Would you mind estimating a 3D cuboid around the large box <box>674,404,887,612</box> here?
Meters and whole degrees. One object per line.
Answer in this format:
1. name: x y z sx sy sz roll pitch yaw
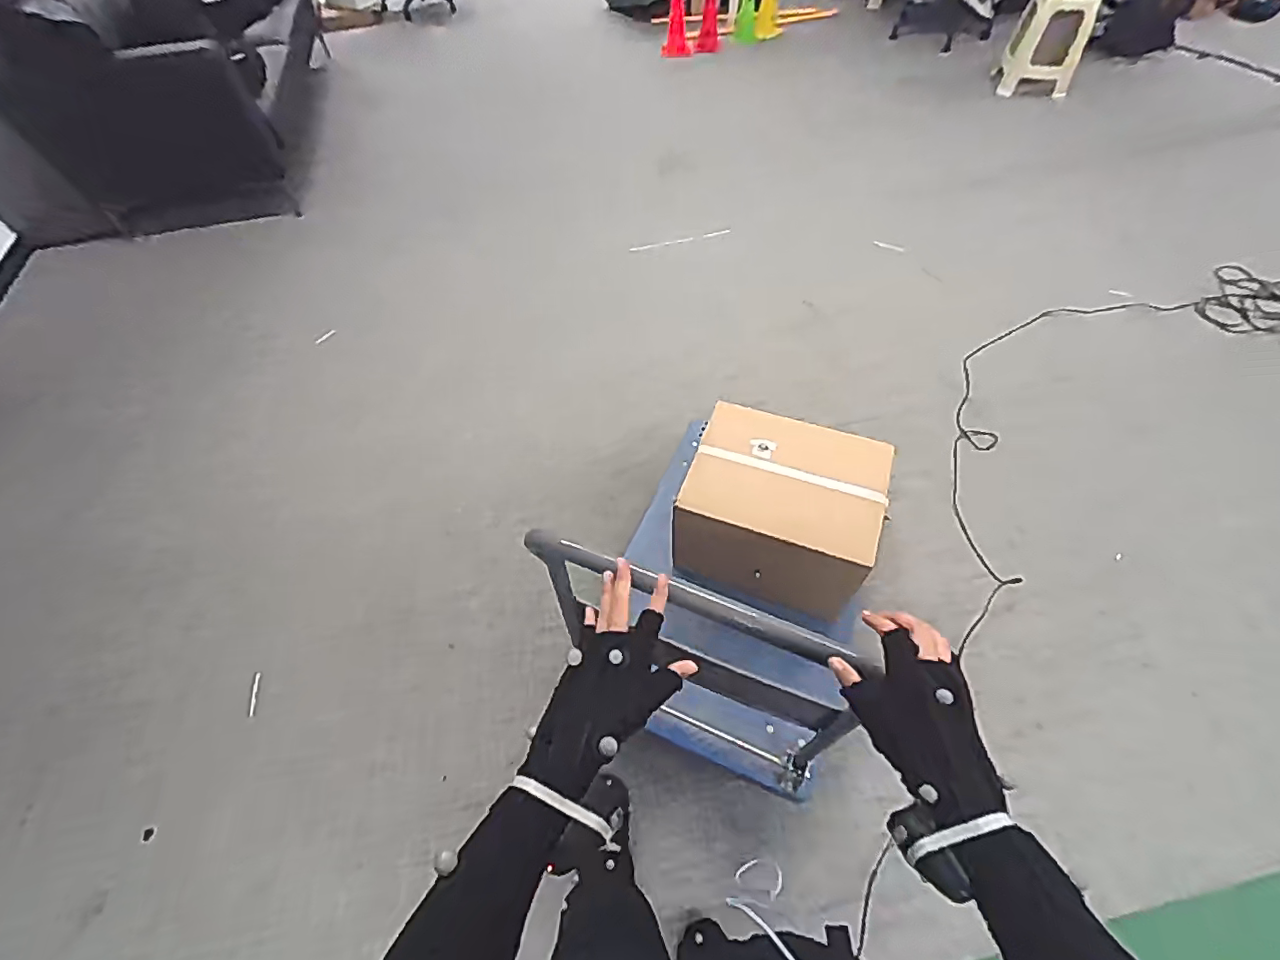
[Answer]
1. large box: 0.320 0.070 1.283 0.408 0.320 0.320 16 58 15
